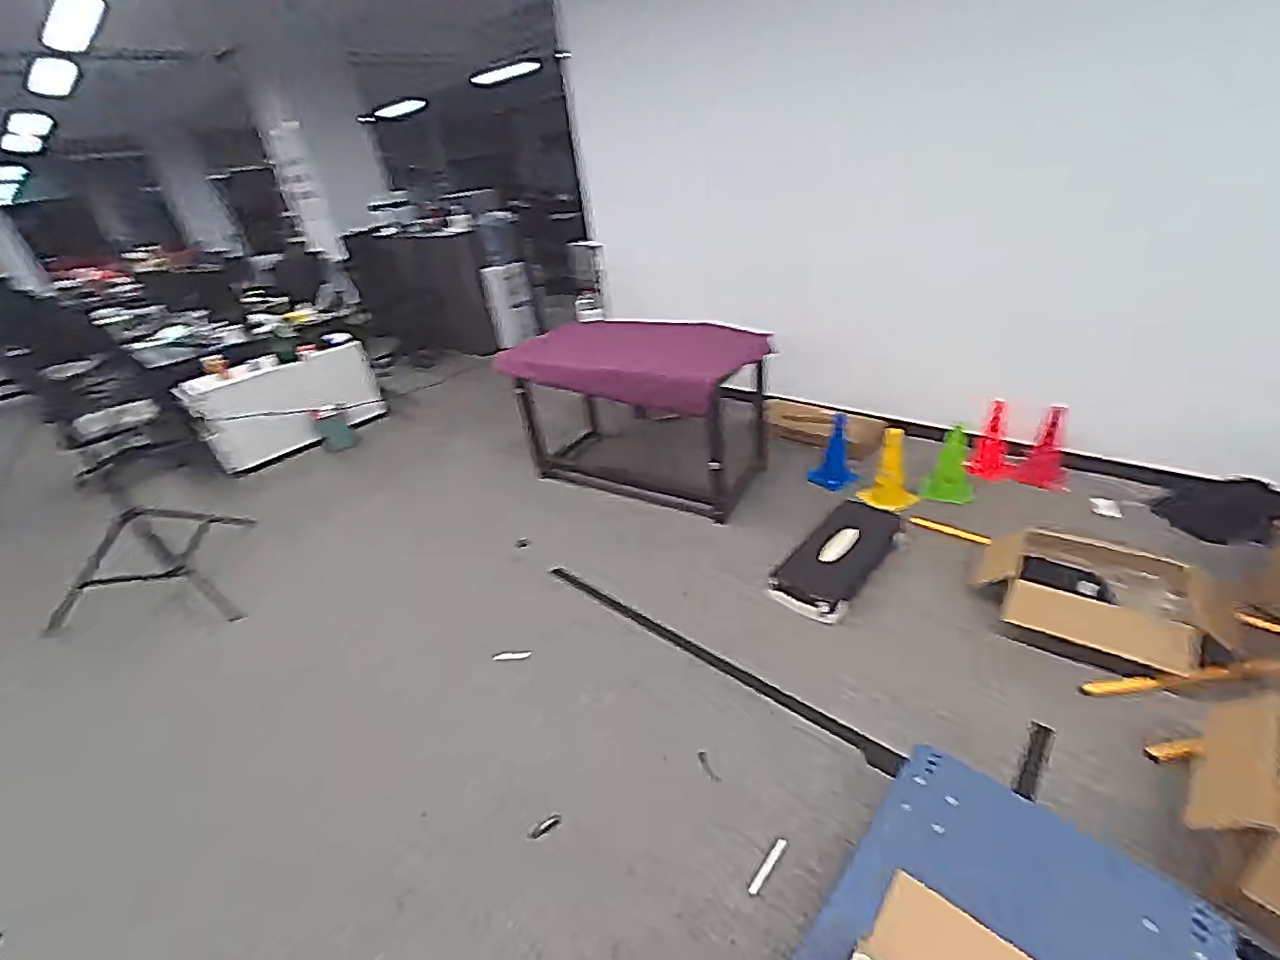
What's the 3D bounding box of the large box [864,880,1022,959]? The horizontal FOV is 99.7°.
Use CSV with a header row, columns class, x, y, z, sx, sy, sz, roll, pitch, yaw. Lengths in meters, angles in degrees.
class,x,y,z,sx,sy,sz,roll,pitch,yaw
large box,0.493,0.904,0.762,0.408,0.320,0.320,21,42,37
